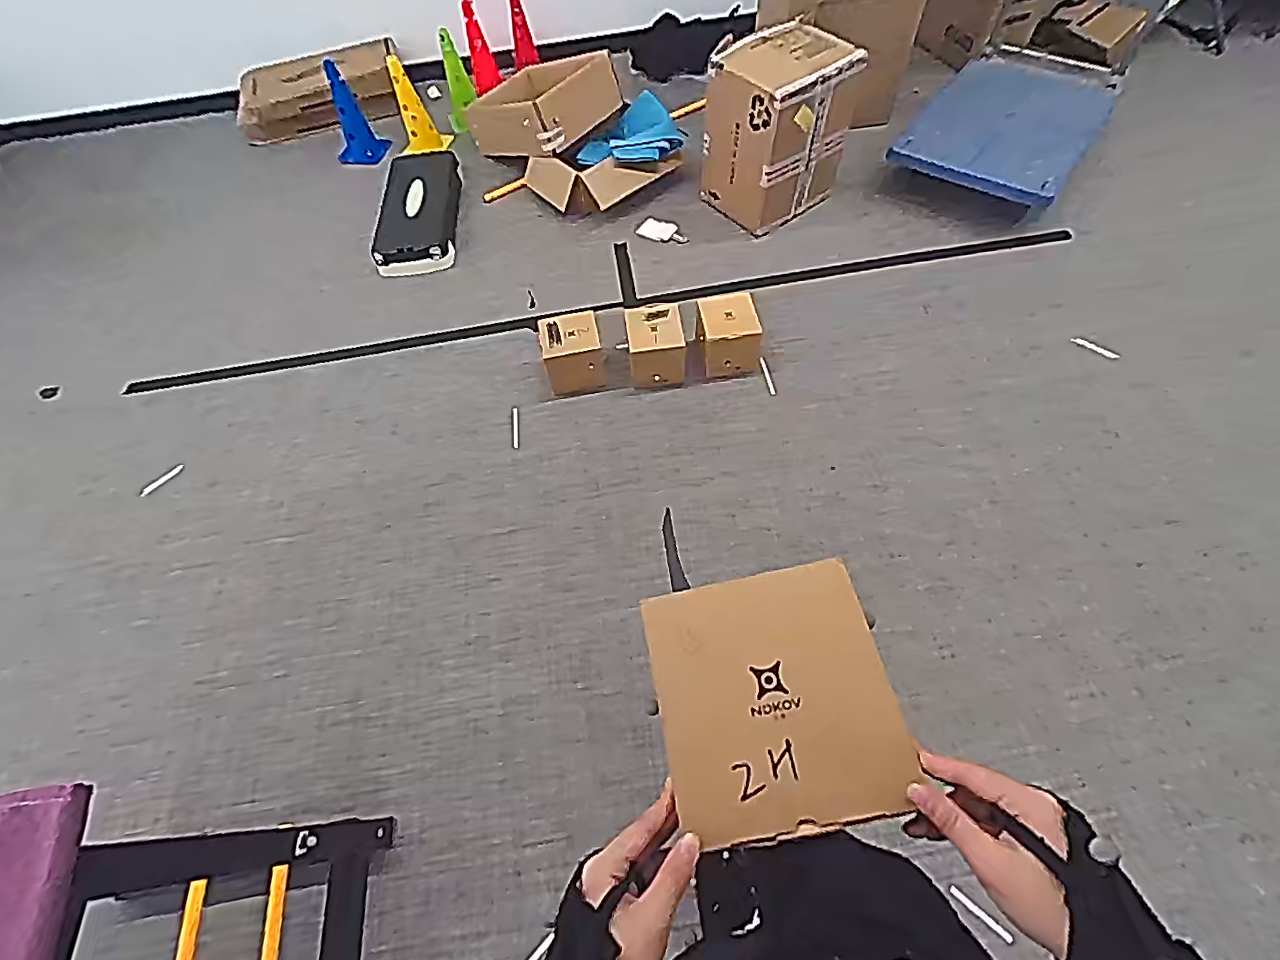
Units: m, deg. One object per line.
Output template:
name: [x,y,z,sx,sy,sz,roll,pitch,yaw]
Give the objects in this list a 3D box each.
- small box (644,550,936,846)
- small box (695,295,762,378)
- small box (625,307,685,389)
small box: [0.106,0.182,0.455,0.168,0.176,0.179,-13,62,3]
small box: [0.268,-0.445,1.685,0.168,0.176,0.179,-8,60,-2]
small box: [0.045,-0.407,1.674,0.168,0.176,0.179,-7,60,0]
